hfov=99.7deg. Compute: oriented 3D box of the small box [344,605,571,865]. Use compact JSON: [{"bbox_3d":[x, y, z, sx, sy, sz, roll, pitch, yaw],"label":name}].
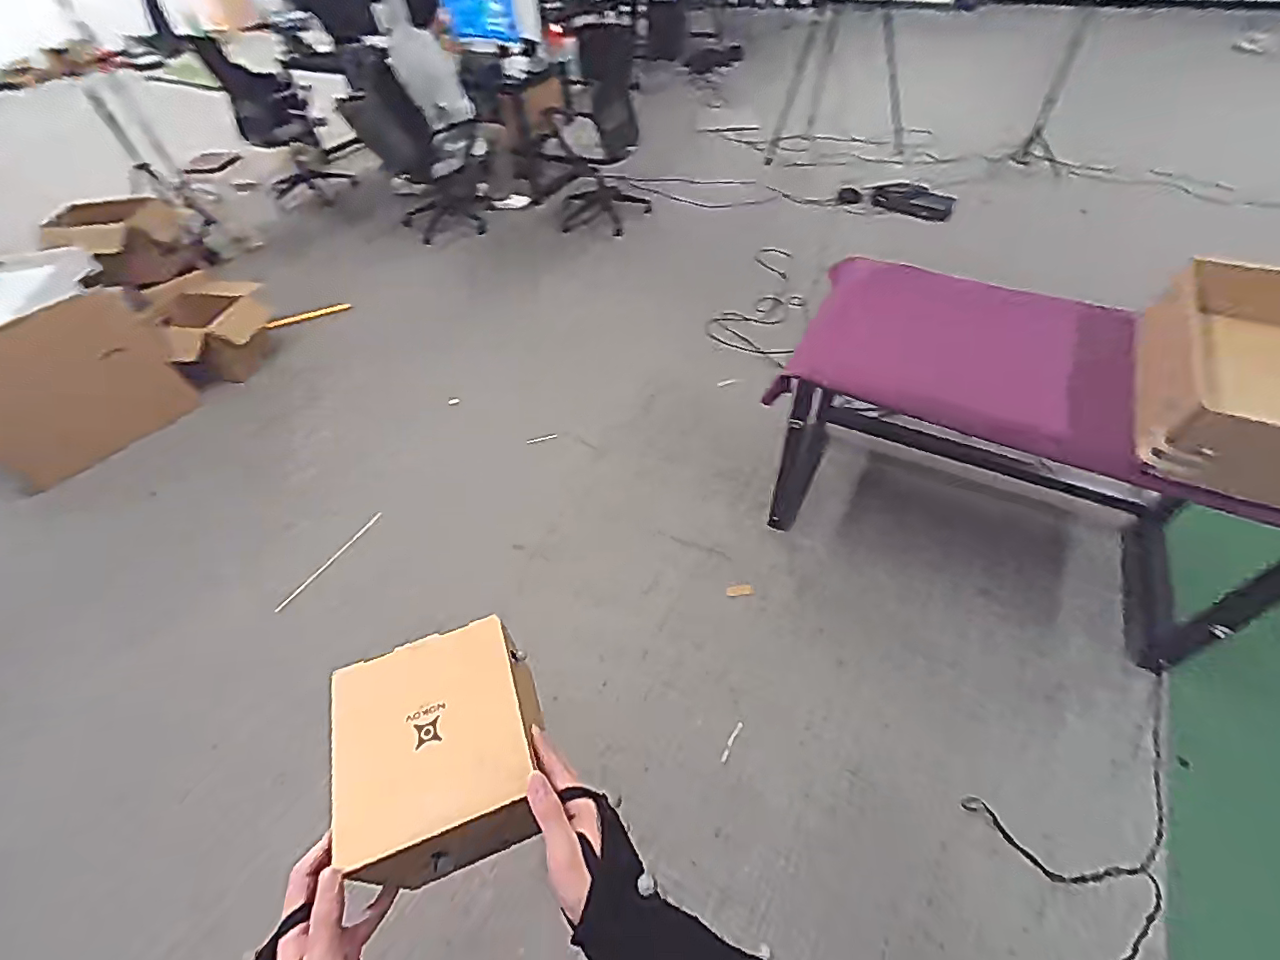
[{"bbox_3d":[-0.177,0.262,0.547,0.168,0.176,0.179,-17,51,-11],"label":"small box"}]
